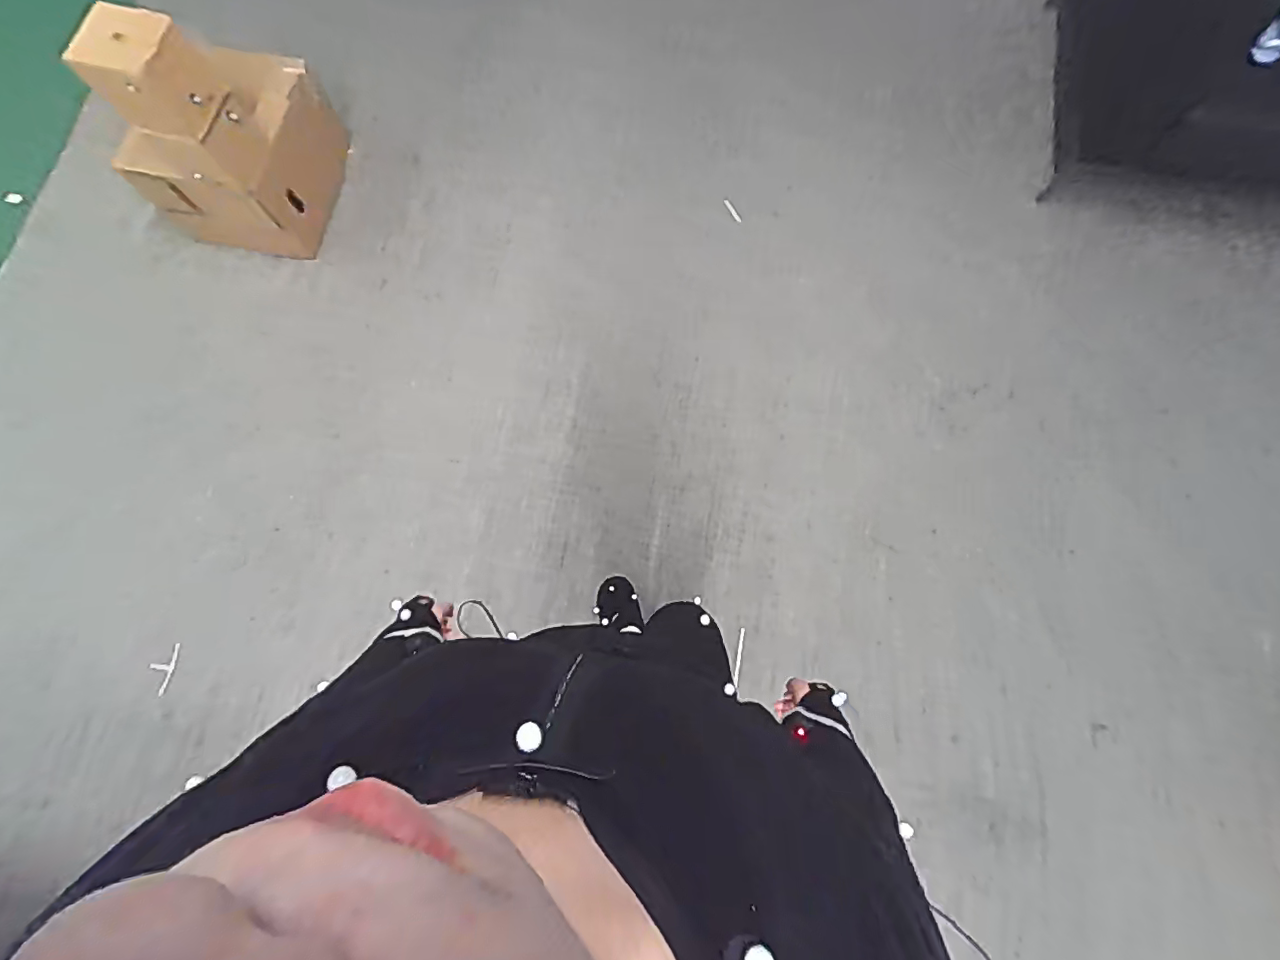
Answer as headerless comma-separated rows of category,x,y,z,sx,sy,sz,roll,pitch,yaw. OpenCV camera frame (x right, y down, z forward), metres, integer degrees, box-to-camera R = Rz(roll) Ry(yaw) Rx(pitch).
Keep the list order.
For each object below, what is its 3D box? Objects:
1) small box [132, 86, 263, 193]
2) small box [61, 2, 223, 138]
small box,-1.112,-0.875,1.377,0.168,0.176,0.179,12,77,3
small box,-1.107,-0.914,1.218,0.179,0.176,0.168,13,77,1
